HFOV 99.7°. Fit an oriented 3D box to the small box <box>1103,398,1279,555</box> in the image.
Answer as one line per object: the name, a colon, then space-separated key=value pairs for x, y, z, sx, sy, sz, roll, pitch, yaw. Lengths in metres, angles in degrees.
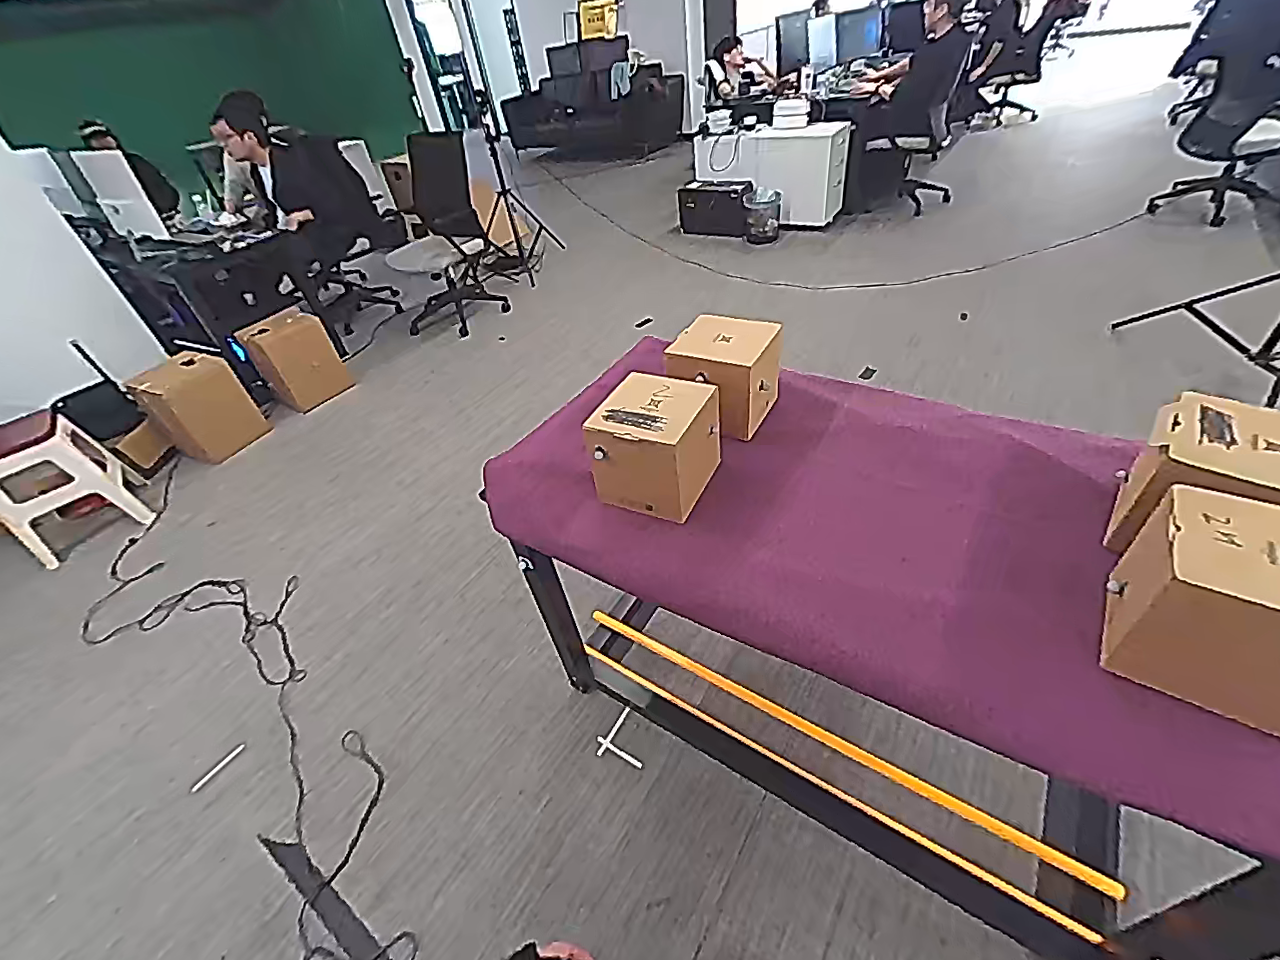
small box: x=0.756 y=0.023 z=0.708 sx=0.179 sy=0.176 sz=0.168 roll=25 pitch=53 yaw=32

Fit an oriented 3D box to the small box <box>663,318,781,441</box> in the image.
small box: x=0.165 y=-0.197 z=1.073 sx=0.179 sy=0.176 sz=0.168 roll=16 pitch=47 yaw=26

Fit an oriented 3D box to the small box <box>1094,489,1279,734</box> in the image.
small box: x=0.646 y=0.143 z=0.591 sx=0.179 sy=0.176 sz=0.168 roll=20 pitch=47 yaw=31
